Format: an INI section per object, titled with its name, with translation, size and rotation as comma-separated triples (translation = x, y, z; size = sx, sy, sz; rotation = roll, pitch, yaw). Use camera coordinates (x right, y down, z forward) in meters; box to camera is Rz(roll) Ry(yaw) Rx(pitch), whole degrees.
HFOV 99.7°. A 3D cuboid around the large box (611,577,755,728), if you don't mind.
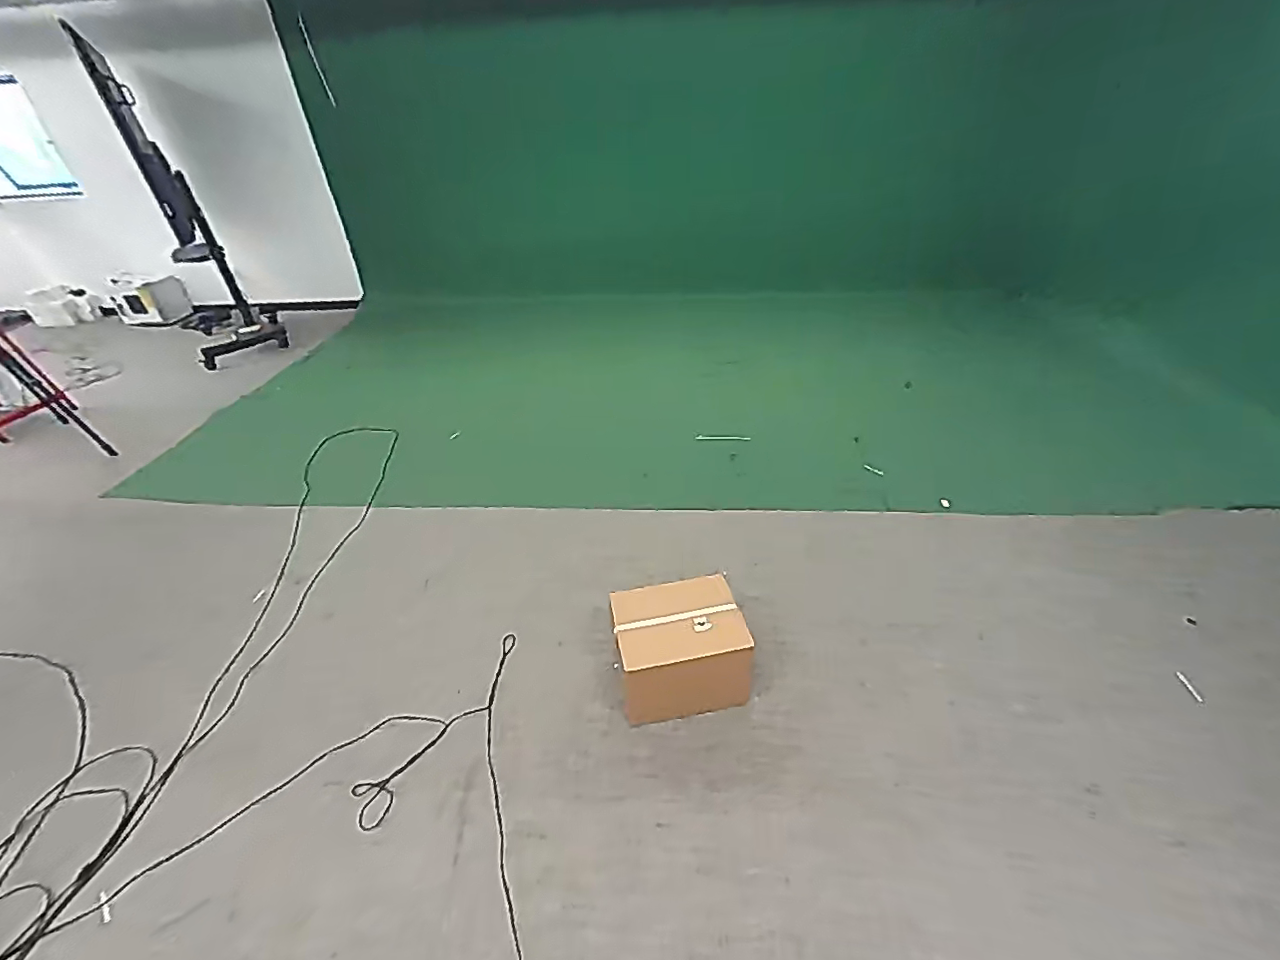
[large box]
translation = 0.132, 0.575, 1.813
size = 0.408, 0.320, 0.320
rotation = -8, 36, -8
